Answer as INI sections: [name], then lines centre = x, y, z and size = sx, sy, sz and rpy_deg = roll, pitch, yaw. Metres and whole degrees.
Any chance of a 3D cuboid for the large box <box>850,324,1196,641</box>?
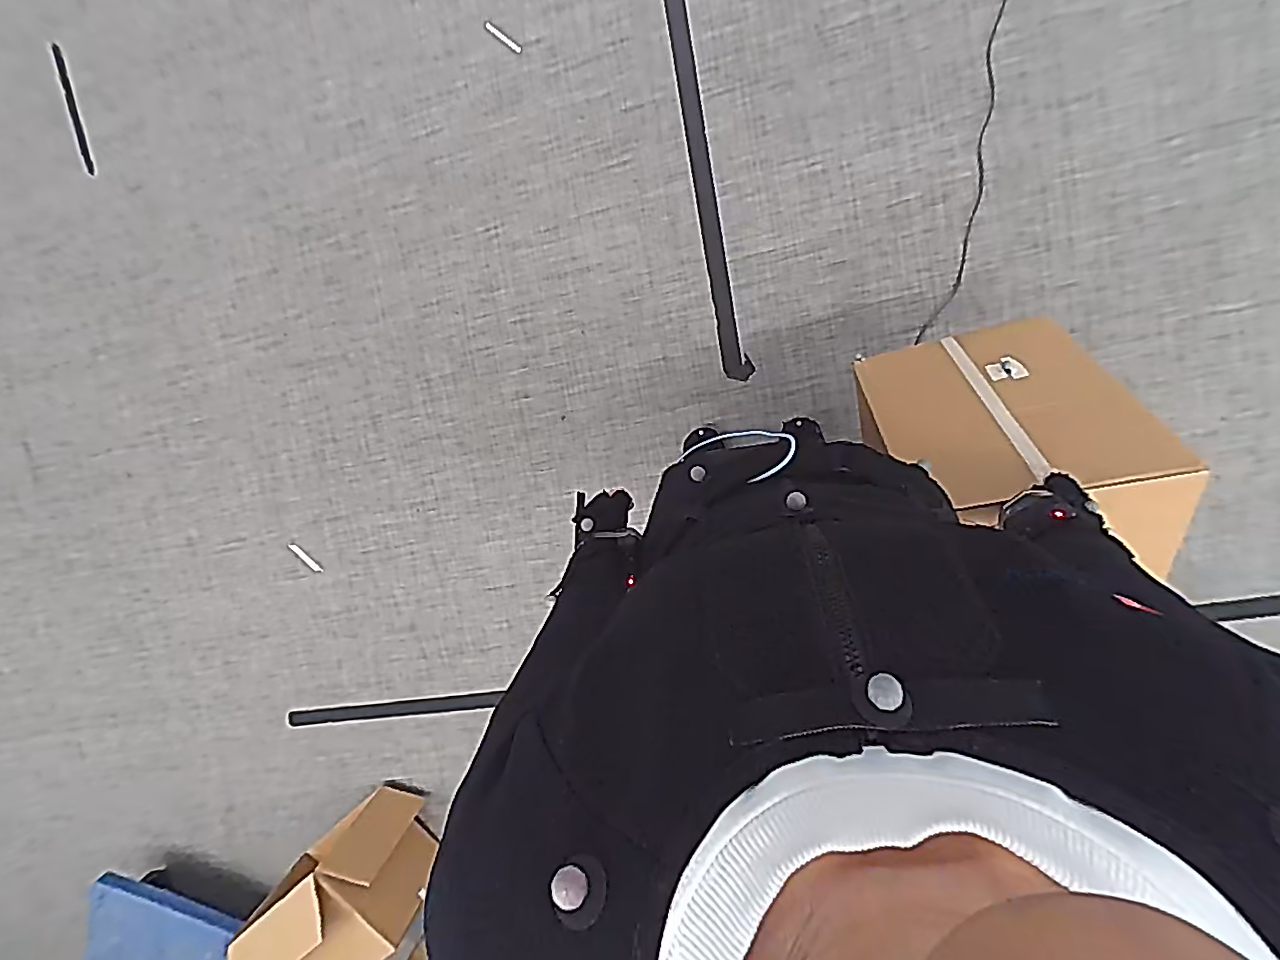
[large box]
centre = 0.572, 0.000, 0.906
size = 0.320, 0.408, 0.320
rpy_deg = -11, 128, 15
